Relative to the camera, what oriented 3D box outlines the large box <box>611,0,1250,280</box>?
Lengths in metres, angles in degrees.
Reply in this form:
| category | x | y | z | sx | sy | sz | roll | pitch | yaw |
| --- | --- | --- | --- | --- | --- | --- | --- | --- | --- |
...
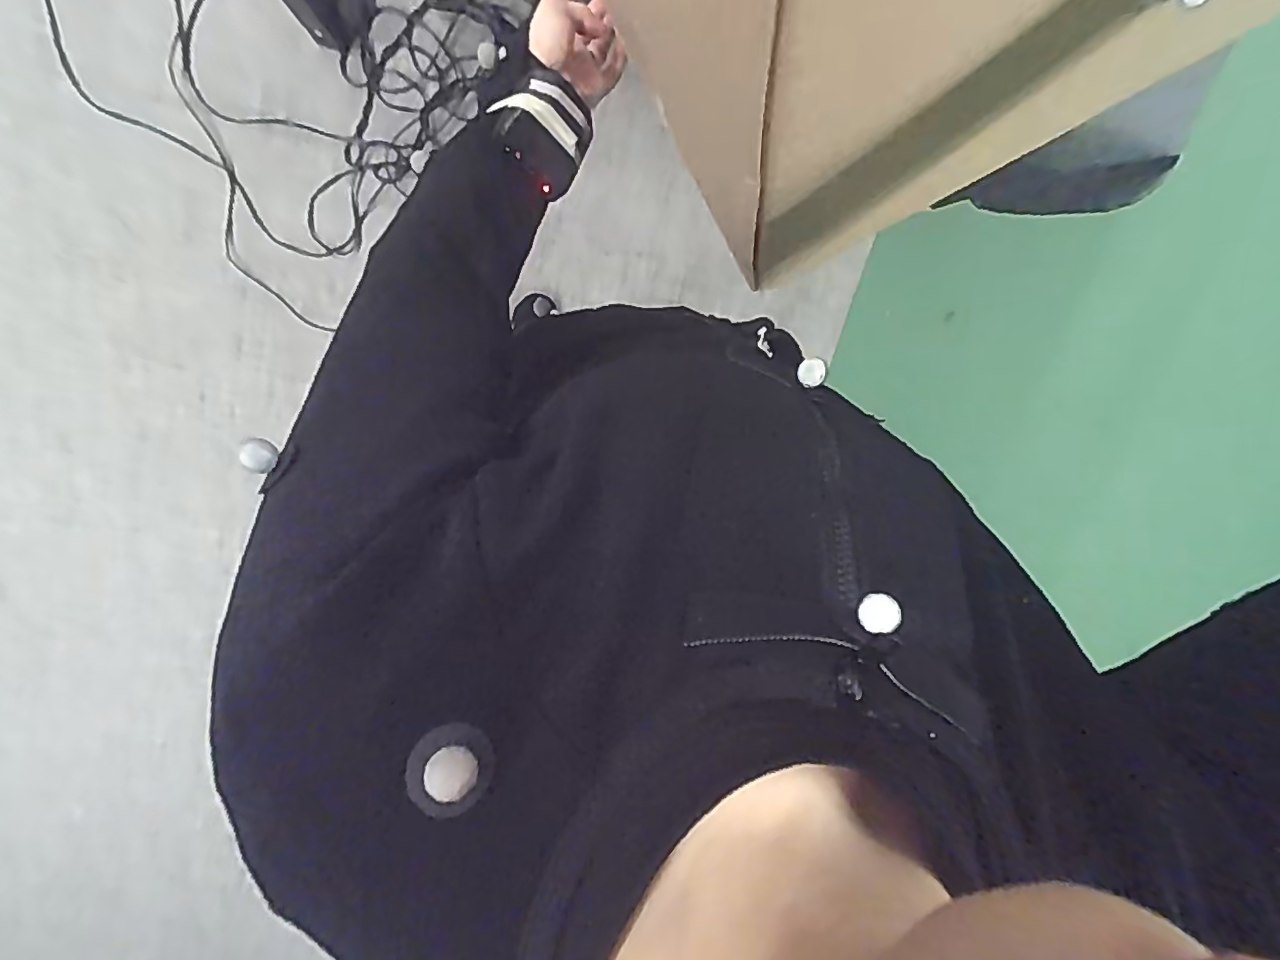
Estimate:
| category | x | y | z | sx | sy | sz | roll | pitch | yaw |
| --- | --- | --- | --- | --- | --- | --- | --- | --- | --- |
| large box | 0.177 | -0.374 | 0.259 | 0.408 | 0.320 | 0.320 | -29 | 85 | 11 |
